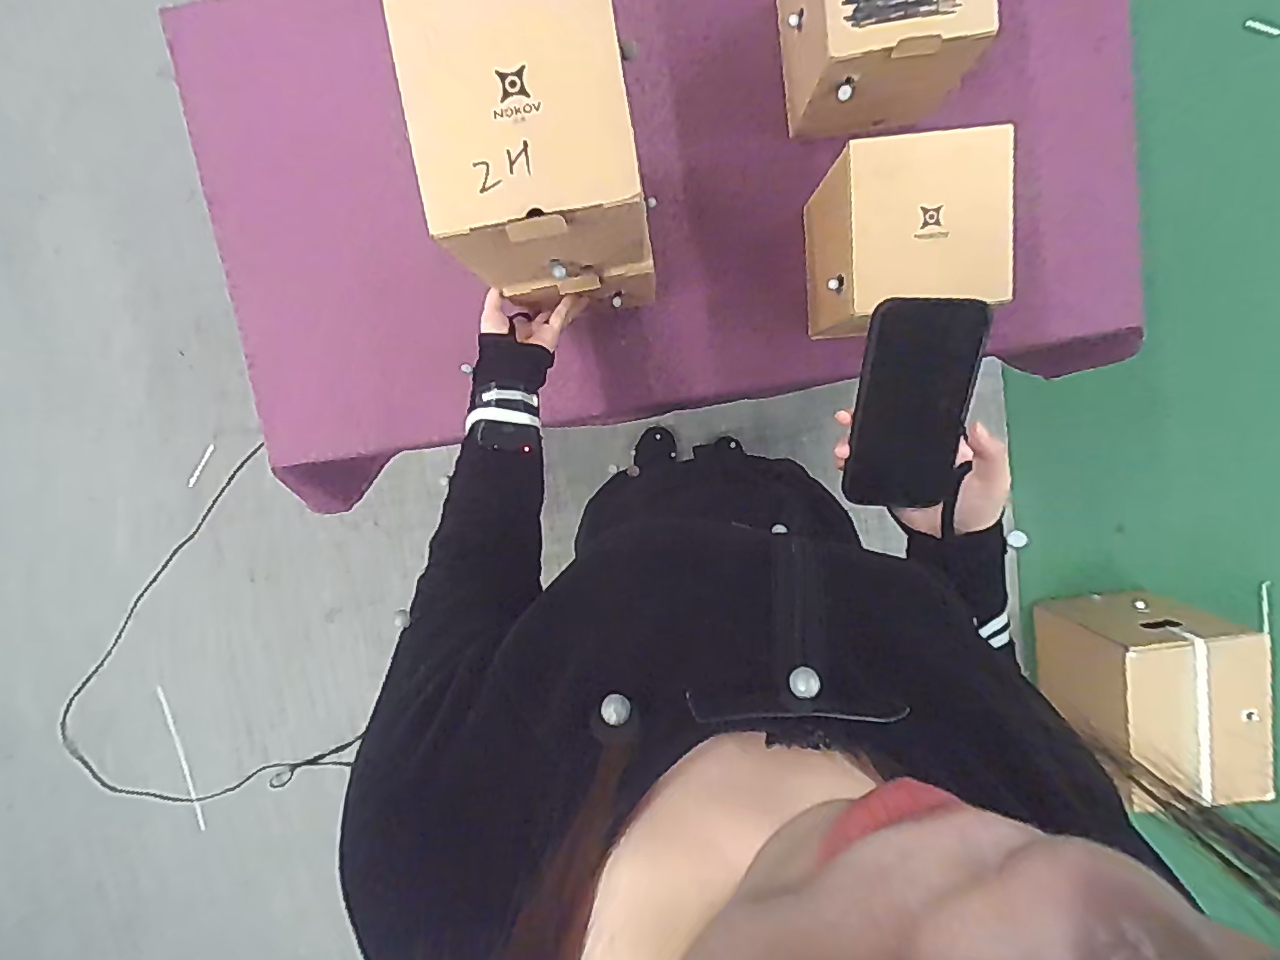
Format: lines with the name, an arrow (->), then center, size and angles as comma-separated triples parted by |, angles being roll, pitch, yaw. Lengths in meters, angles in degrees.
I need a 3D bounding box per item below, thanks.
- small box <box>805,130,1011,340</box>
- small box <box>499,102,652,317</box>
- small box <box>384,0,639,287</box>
small box -> 0.298, -0.270, 0.634 | 0.168, 0.176, 0.179 | -5, 97, 2
small box -> -0.078, -0.301, 0.644 | 0.168, 0.176, 0.179 | -8, 96, 2
small box -> -0.094, -0.291, 0.480 | 0.168, 0.176, 0.179 | -9, 96, 3
